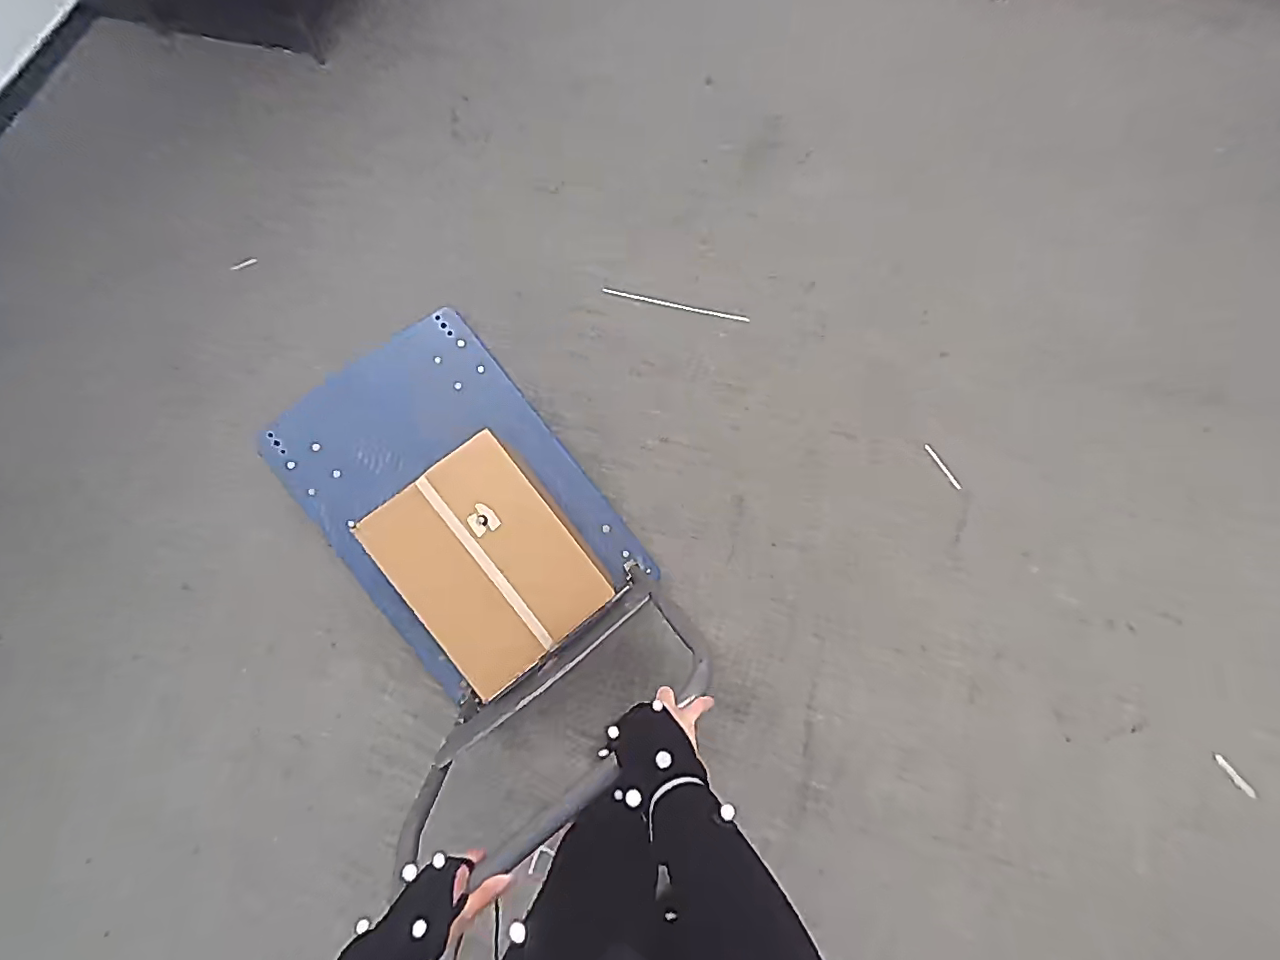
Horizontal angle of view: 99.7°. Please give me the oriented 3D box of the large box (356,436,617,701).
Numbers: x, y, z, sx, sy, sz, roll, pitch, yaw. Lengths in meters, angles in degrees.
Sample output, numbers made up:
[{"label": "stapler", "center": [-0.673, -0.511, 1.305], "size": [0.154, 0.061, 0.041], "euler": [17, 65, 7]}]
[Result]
[{"label": "large box", "center": [-0.290, 0.173, 1.148], "size": [0.320, 0.320, 0.408], "euler": [-38, 89, -7]}]
